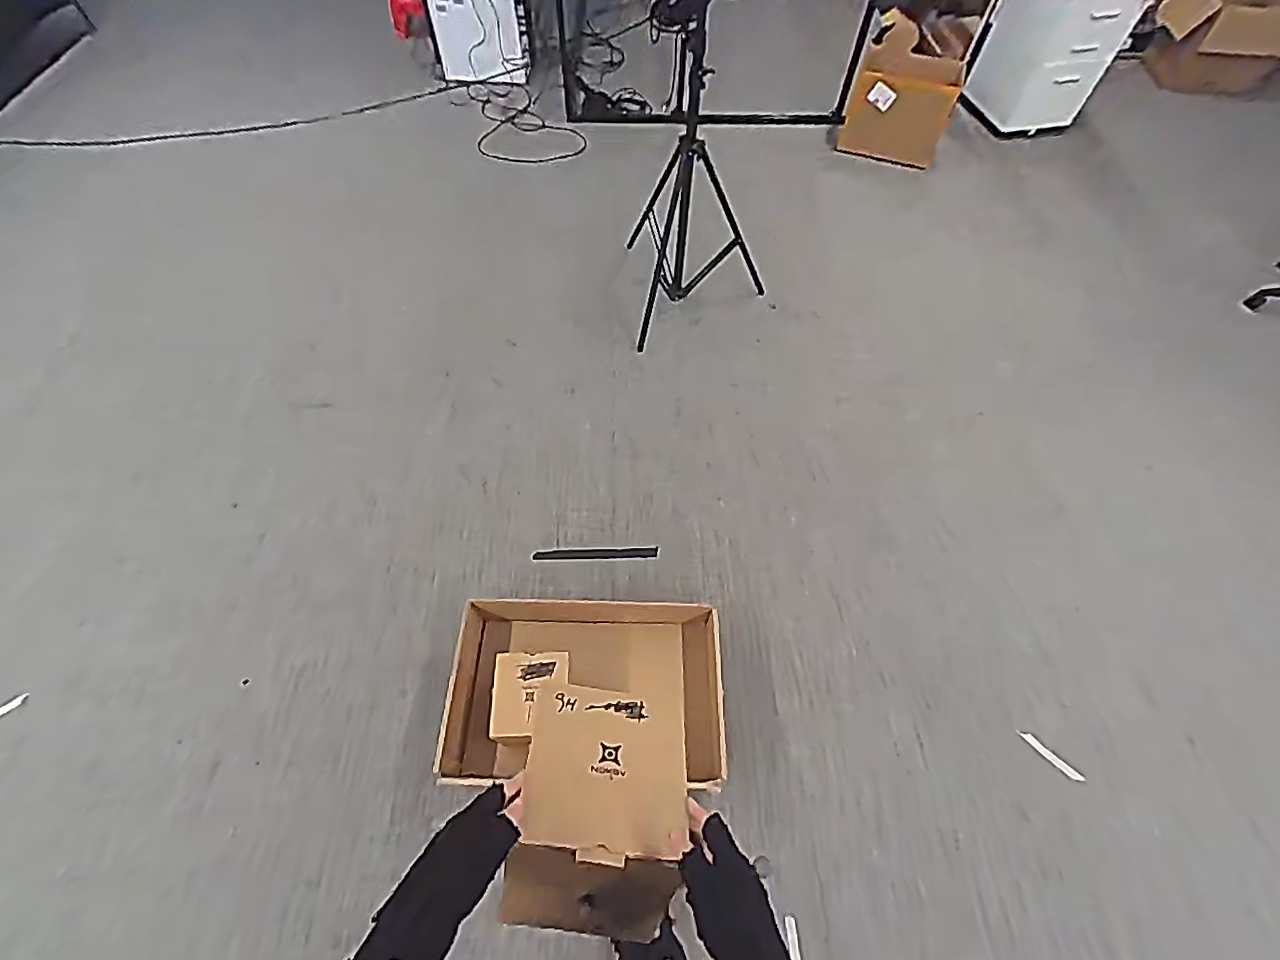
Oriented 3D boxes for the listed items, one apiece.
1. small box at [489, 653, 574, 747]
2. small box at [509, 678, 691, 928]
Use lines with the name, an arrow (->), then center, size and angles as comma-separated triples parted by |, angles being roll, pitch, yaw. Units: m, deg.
small box -> -0.241, 0.511, 1.249 | 0.168, 0.176, 0.179 | -1, 59, -3
small box -> -0.044, 0.353, 0.595 | 0.168, 0.176, 0.179 | 10, 31, -4
